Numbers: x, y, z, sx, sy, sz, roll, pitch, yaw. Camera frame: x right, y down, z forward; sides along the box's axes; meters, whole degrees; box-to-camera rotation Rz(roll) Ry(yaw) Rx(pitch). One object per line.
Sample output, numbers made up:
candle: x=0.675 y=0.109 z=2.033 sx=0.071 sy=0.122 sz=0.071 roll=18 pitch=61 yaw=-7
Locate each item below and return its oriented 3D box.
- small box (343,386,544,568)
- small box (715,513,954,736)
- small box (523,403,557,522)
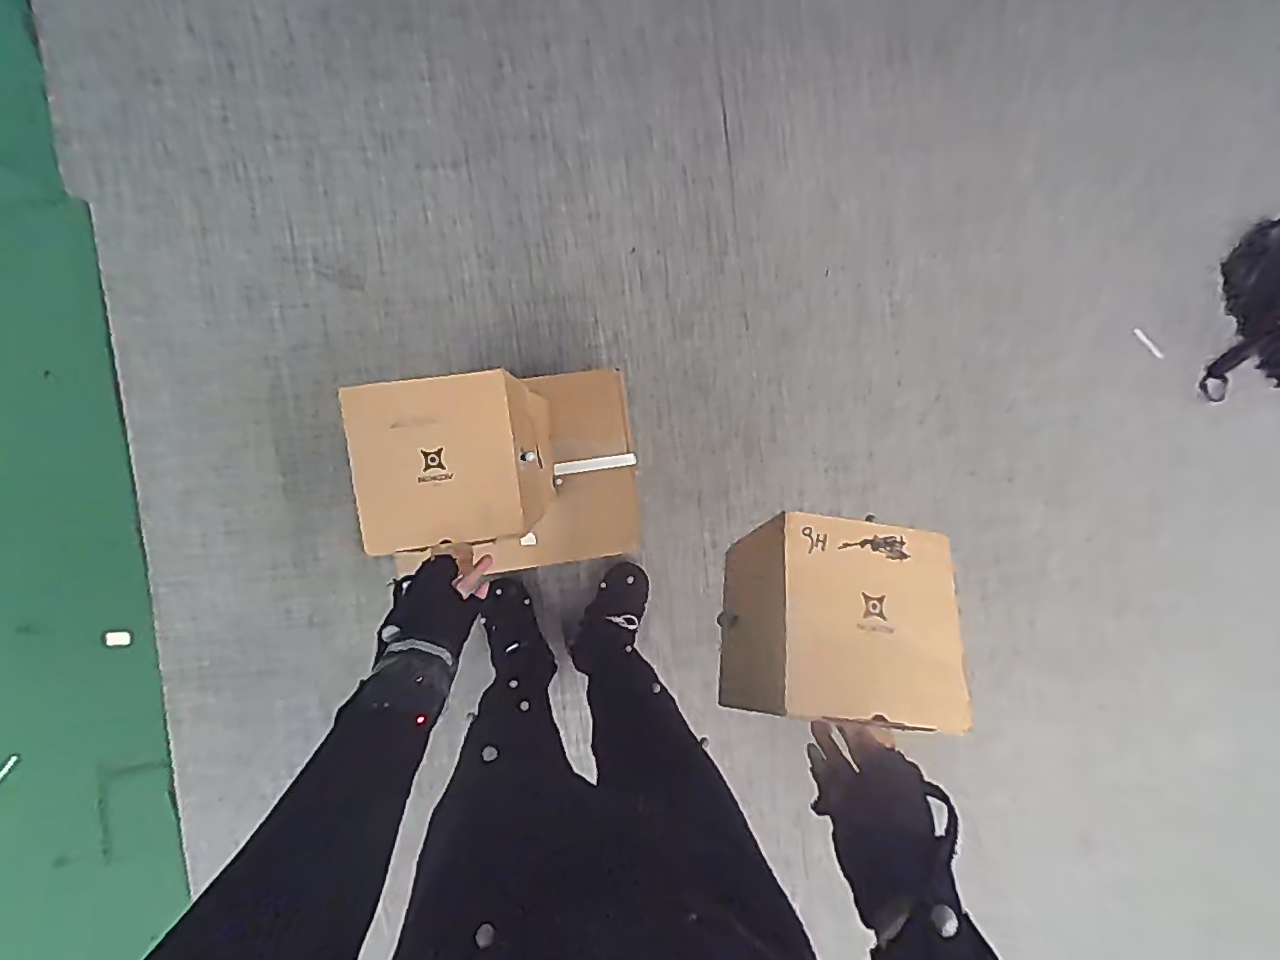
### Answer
small box: x=-0.214 y=-0.009 z=0.637 sx=0.168 sy=0.176 sz=0.179 roll=-8 pitch=94 yaw=-2
small box: x=0.180 y=0.147 z=0.548 sx=0.168 sy=0.176 sz=0.179 roll=8 pitch=70 yaw=-8
small box: x=-0.222 y=-0.020 z=0.799 sx=0.179 sy=0.176 sz=0.168 roll=-9 pitch=96 yaw=-2
